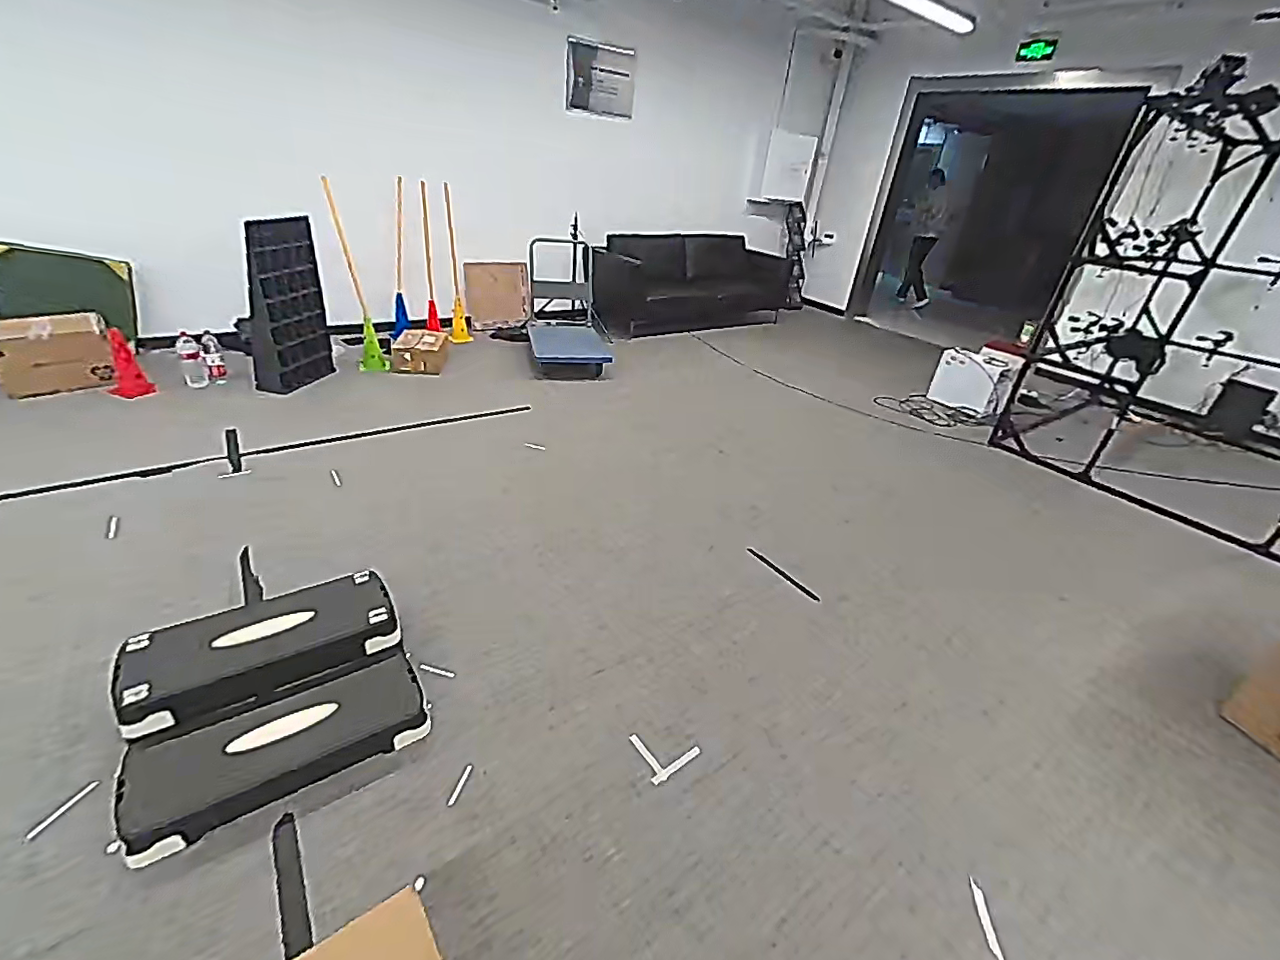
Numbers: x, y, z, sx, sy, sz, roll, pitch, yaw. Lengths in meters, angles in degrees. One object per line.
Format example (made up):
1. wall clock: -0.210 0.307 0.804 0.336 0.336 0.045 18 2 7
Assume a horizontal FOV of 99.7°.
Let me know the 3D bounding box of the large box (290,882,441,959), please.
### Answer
1. large box: -0.491 0.970 0.837 0.408 0.320 0.320 -16 38 -35

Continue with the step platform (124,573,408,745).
1. step platform: -1.079 0.502 1.623 0.684 0.204 0.286 -11 35 -29
